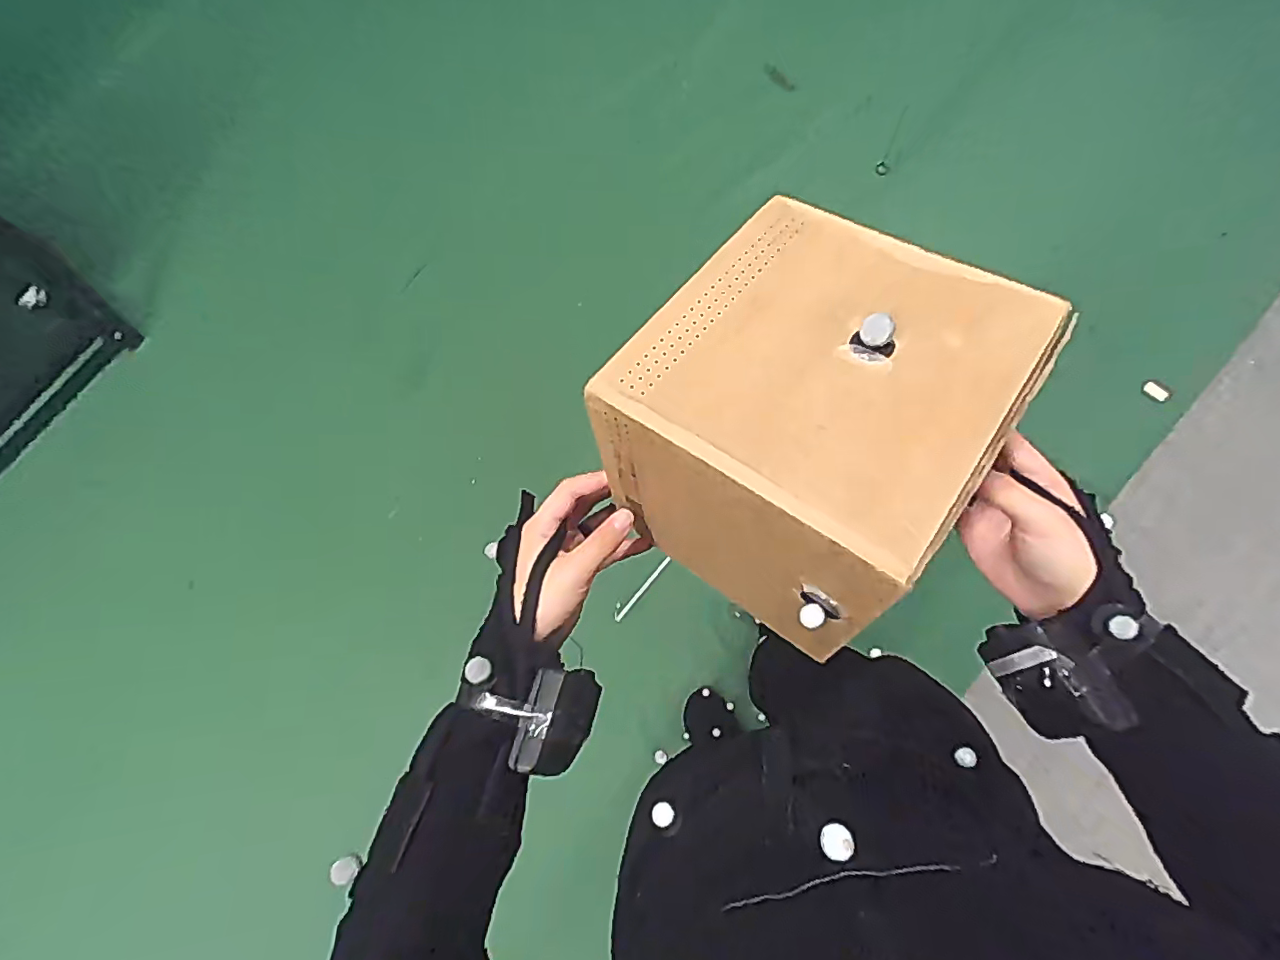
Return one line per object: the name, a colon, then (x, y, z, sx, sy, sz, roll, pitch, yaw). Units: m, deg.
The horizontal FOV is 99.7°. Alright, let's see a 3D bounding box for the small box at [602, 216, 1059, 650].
small box: (0.099, -0.028, 0.339, 0.176, 0.168, 0.179, 33, 70, 21)
